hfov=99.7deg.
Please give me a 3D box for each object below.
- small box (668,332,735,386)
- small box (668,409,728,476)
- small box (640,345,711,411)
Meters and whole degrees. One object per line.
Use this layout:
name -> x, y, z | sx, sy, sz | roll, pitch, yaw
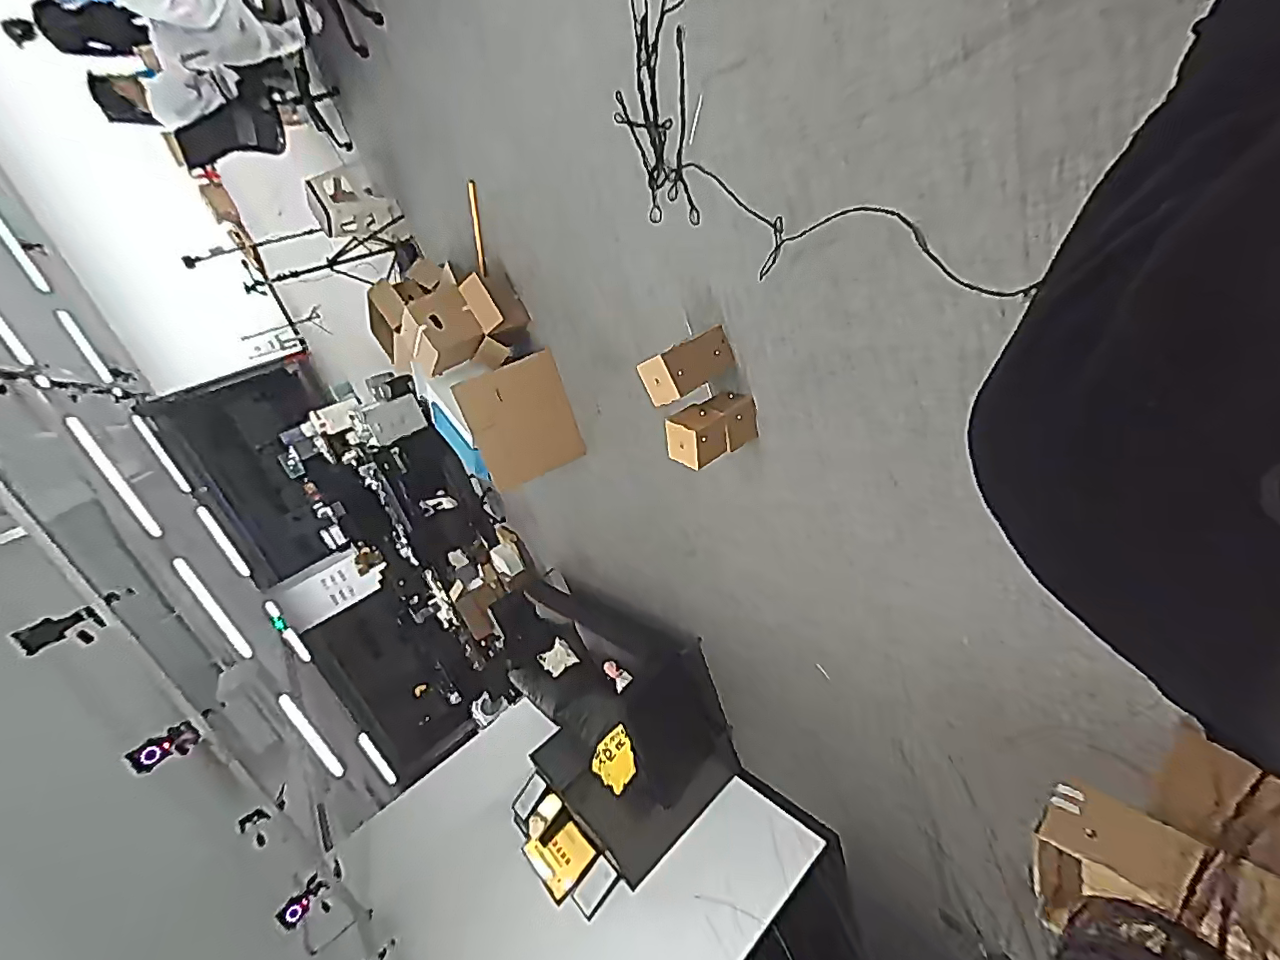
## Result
small box -> 0.249, -0.464, 2.121 | 0.179, 0.176, 0.168 | 0, 117, 57
small box -> 0.232, -0.151, 2.113 | 0.168, 0.176, 0.179 | 29, 138, 42
small box -> 0.138, -0.382, 2.033 | 0.168, 0.176, 0.179 | -8, 110, 58
